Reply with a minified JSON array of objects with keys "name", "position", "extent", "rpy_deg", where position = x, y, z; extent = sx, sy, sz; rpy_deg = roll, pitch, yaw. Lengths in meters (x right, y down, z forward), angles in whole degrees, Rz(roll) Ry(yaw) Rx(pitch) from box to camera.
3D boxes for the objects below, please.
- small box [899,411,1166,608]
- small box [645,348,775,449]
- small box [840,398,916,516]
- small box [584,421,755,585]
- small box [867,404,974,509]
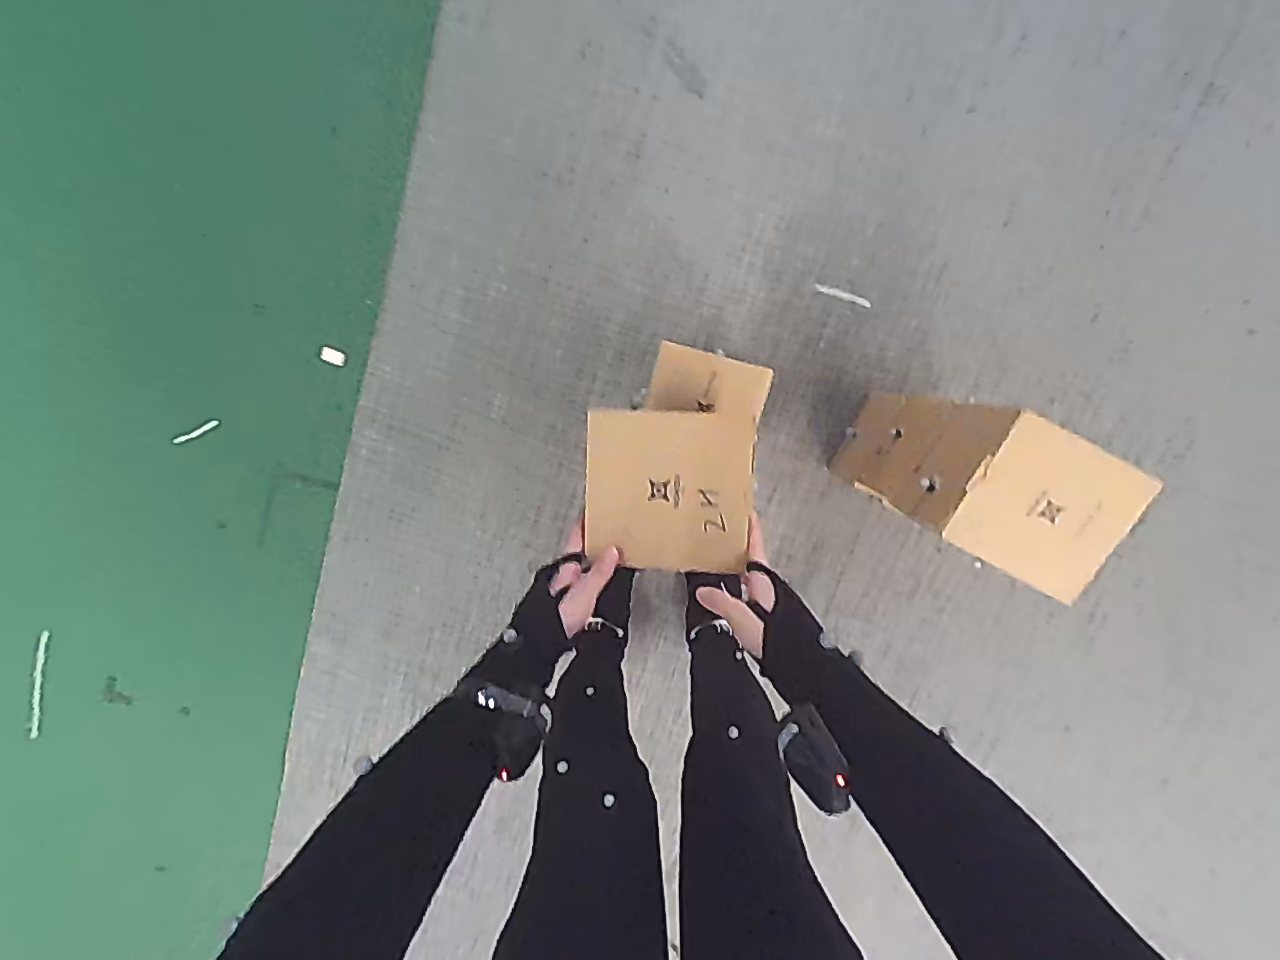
[{"name":"small box","position":[0.463,0.024,0.677],"extent":[0.179,0.176,0.168],"rpy_deg":[28,102,0]},{"name":"small box","position":[0.100,-0.097,0.855],"extent":[0.168,0.176,0.179],"rpy_deg":[15,100,2]},{"name":"small box","position":[0.490,-0.037,0.995],"extent":[0.168,0.176,0.179],"rpy_deg":[25,103,0]},{"name":"small box","position":[0.039,0.017,0.638],"extent":[0.179,0.176,0.168],"rpy_deg":[2,96,8]},{"name":"small box","position":[0.487,-0.012,0.834],"extent":[0.179,0.176,0.168],"rpy_deg":[24,101,2]}]
